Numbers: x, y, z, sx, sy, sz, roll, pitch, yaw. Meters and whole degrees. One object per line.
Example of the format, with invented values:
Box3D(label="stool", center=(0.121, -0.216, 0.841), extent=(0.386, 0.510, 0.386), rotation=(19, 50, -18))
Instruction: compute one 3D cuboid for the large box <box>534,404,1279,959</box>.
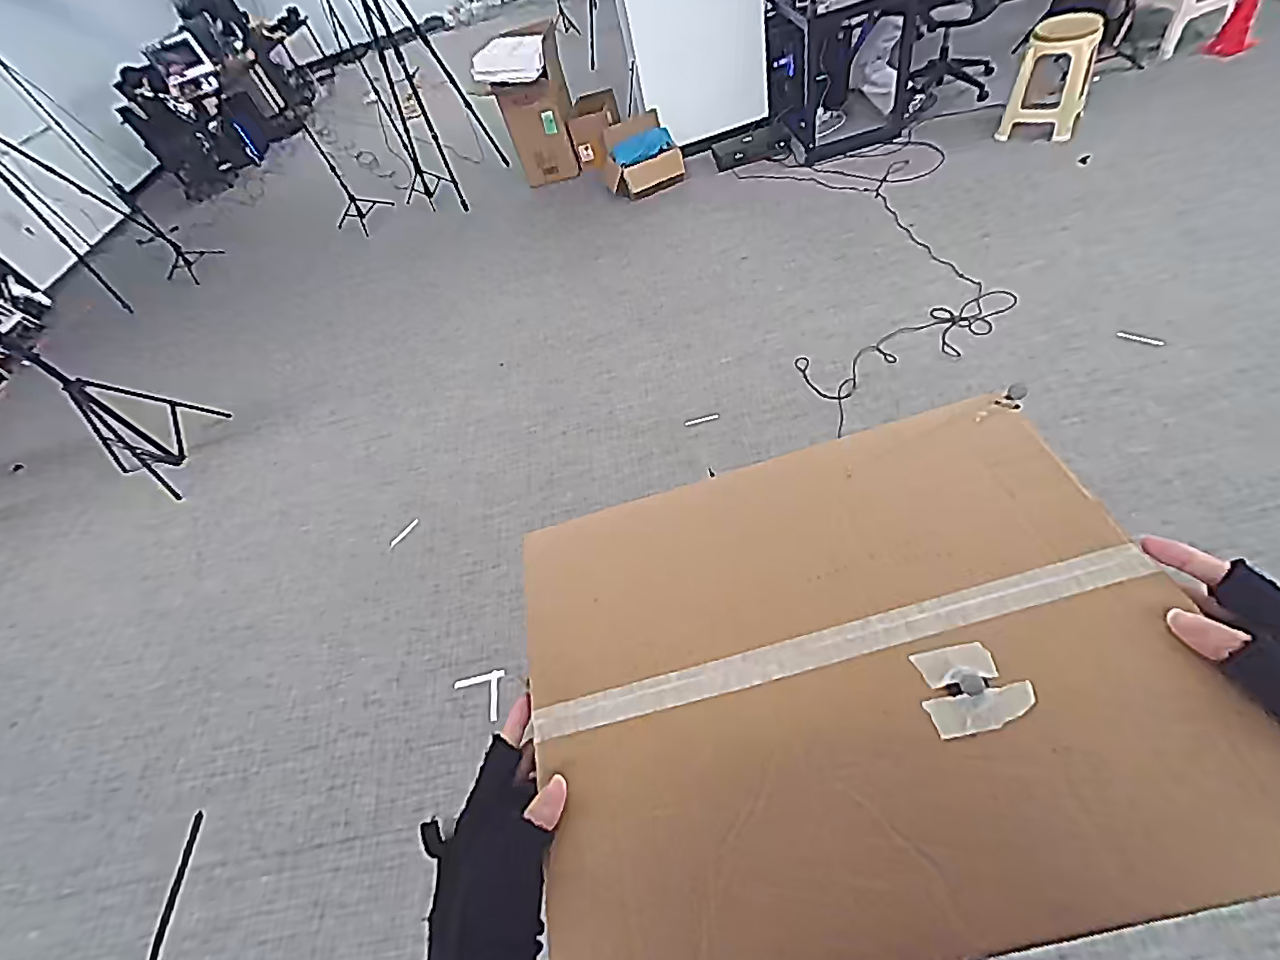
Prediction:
Box3D(label="large box", center=(0.158, 0.197, 0.483), extent=(0.408, 0.320, 0.320), rotation=(-17, 53, 4))
